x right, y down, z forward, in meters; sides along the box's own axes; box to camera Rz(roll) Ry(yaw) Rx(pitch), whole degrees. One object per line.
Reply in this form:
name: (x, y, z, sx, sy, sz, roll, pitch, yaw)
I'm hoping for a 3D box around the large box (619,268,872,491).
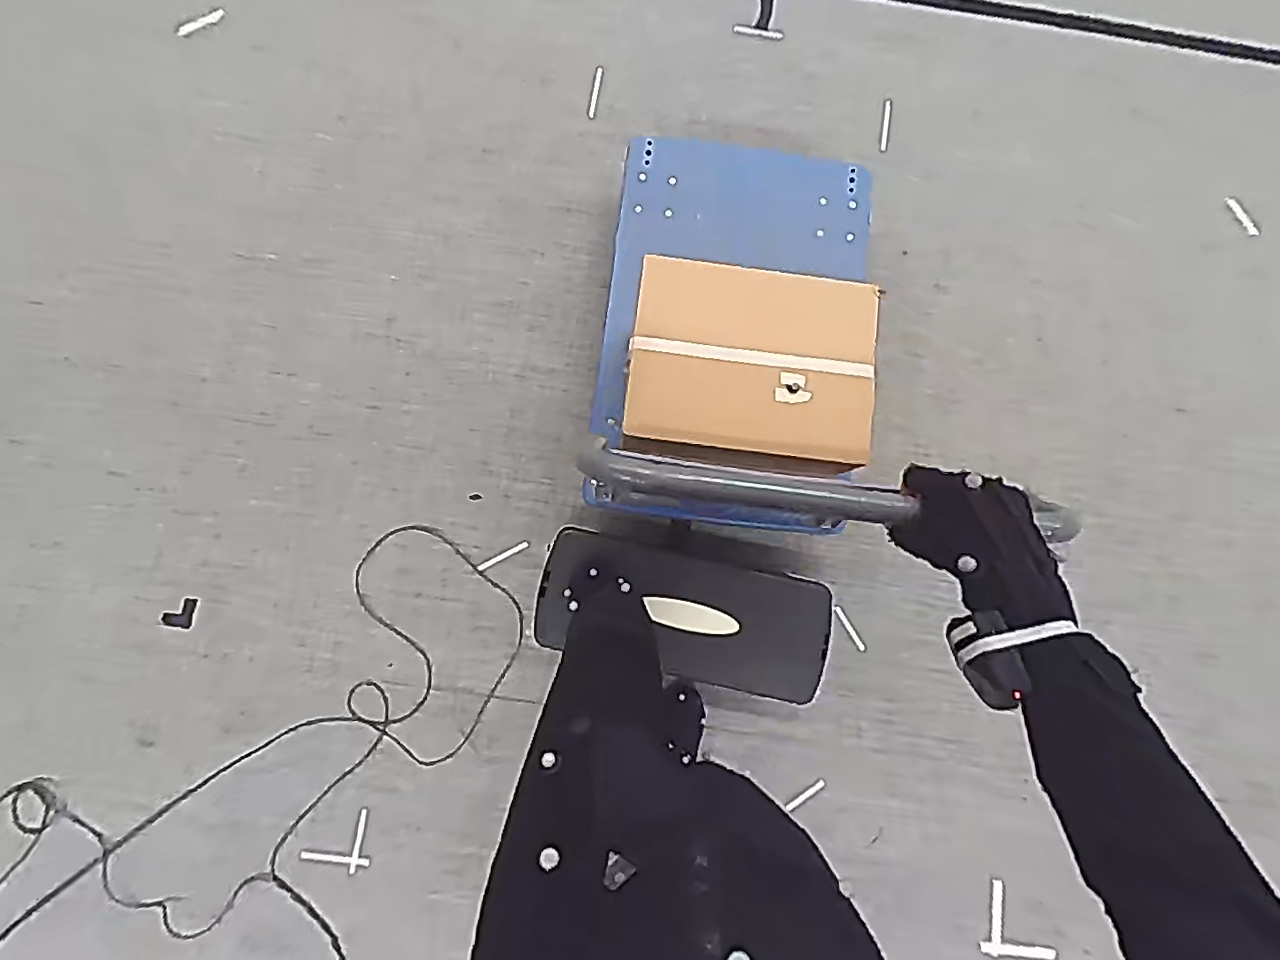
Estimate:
large box: (0.173, -0.165, 1.033, 0.408, 0.320, 0.320, 7, 83, -2)
